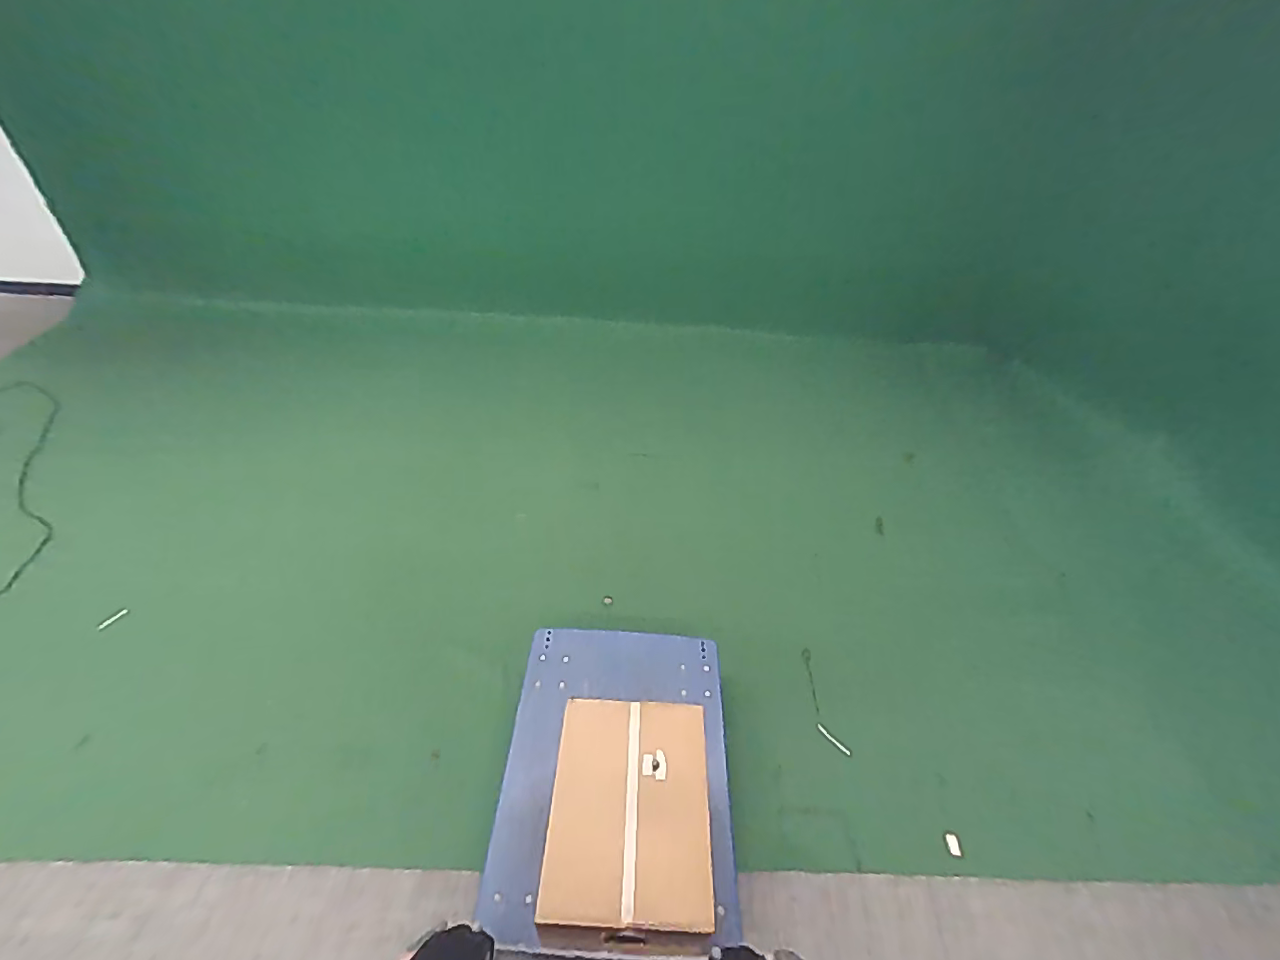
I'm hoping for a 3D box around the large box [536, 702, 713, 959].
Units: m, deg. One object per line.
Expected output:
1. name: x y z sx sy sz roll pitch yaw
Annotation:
1. large box: -0.033 0.752 1.171 0.320 0.320 0.408 4 40 -2
